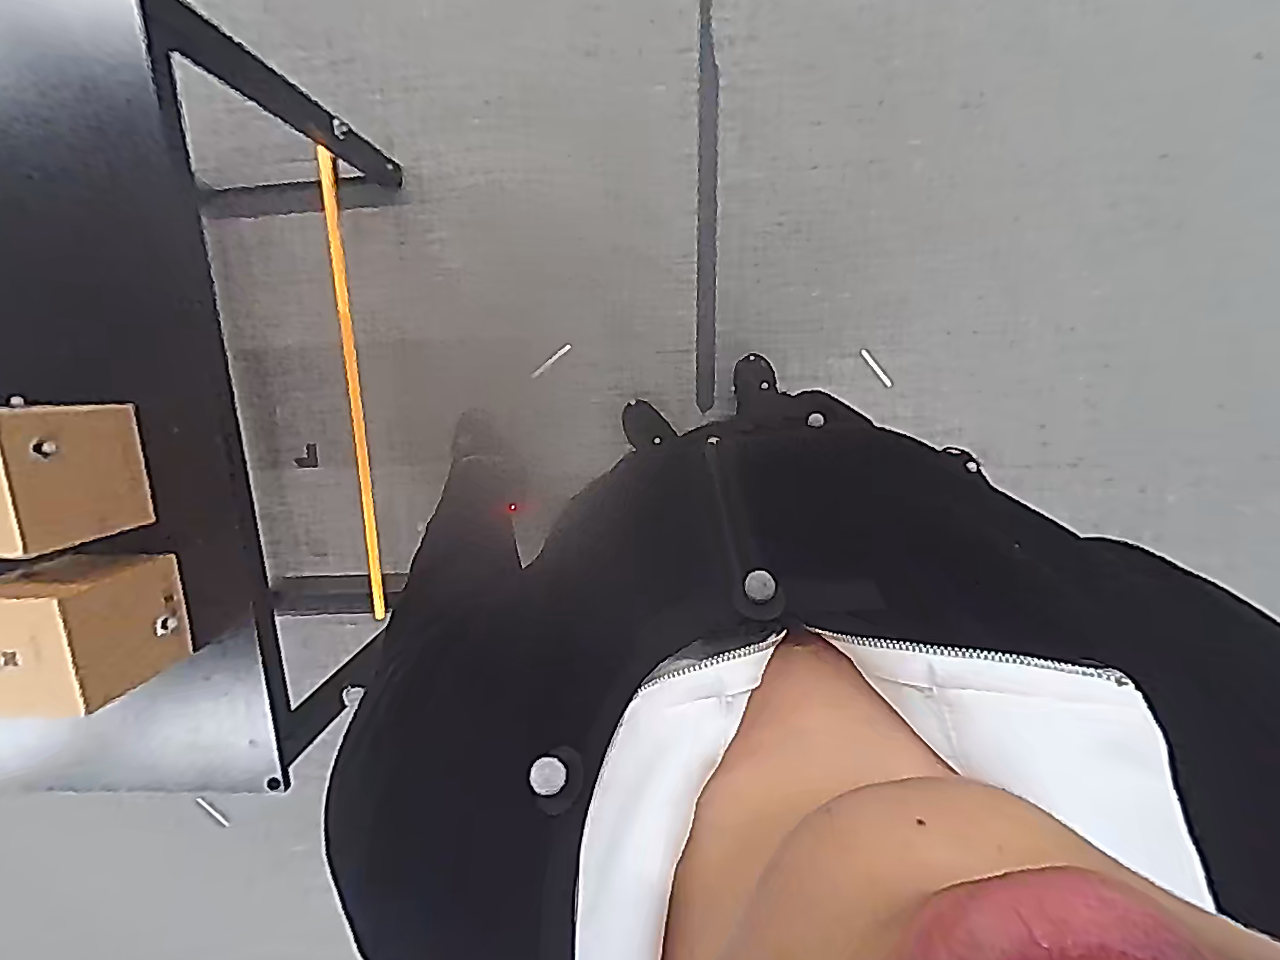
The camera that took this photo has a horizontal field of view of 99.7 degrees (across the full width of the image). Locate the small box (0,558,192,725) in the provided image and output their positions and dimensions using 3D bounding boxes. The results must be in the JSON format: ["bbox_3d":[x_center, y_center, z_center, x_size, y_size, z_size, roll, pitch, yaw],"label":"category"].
[{"bbox_3d":[-0.786,0.214,0.750,0.179,0.176,0.168,-2,102,3],"label":"small box"}]
